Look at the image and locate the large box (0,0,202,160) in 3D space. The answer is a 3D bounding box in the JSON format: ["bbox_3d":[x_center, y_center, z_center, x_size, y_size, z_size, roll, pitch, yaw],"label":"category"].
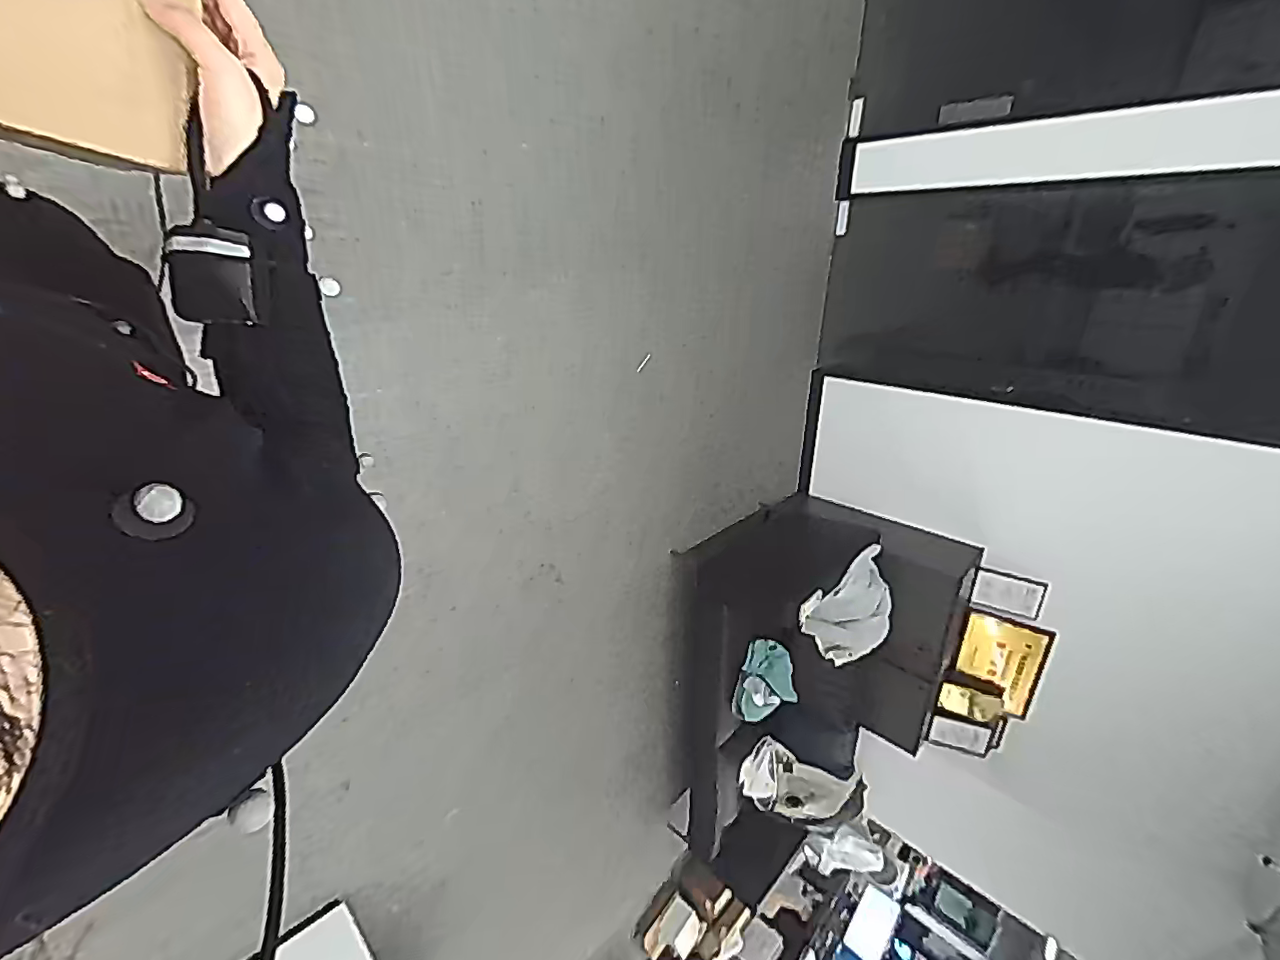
[{"bbox_3d":[-0.526,-0.408,0.287,0.408,0.320,0.320,-7,117,-50],"label":"large box"}]
